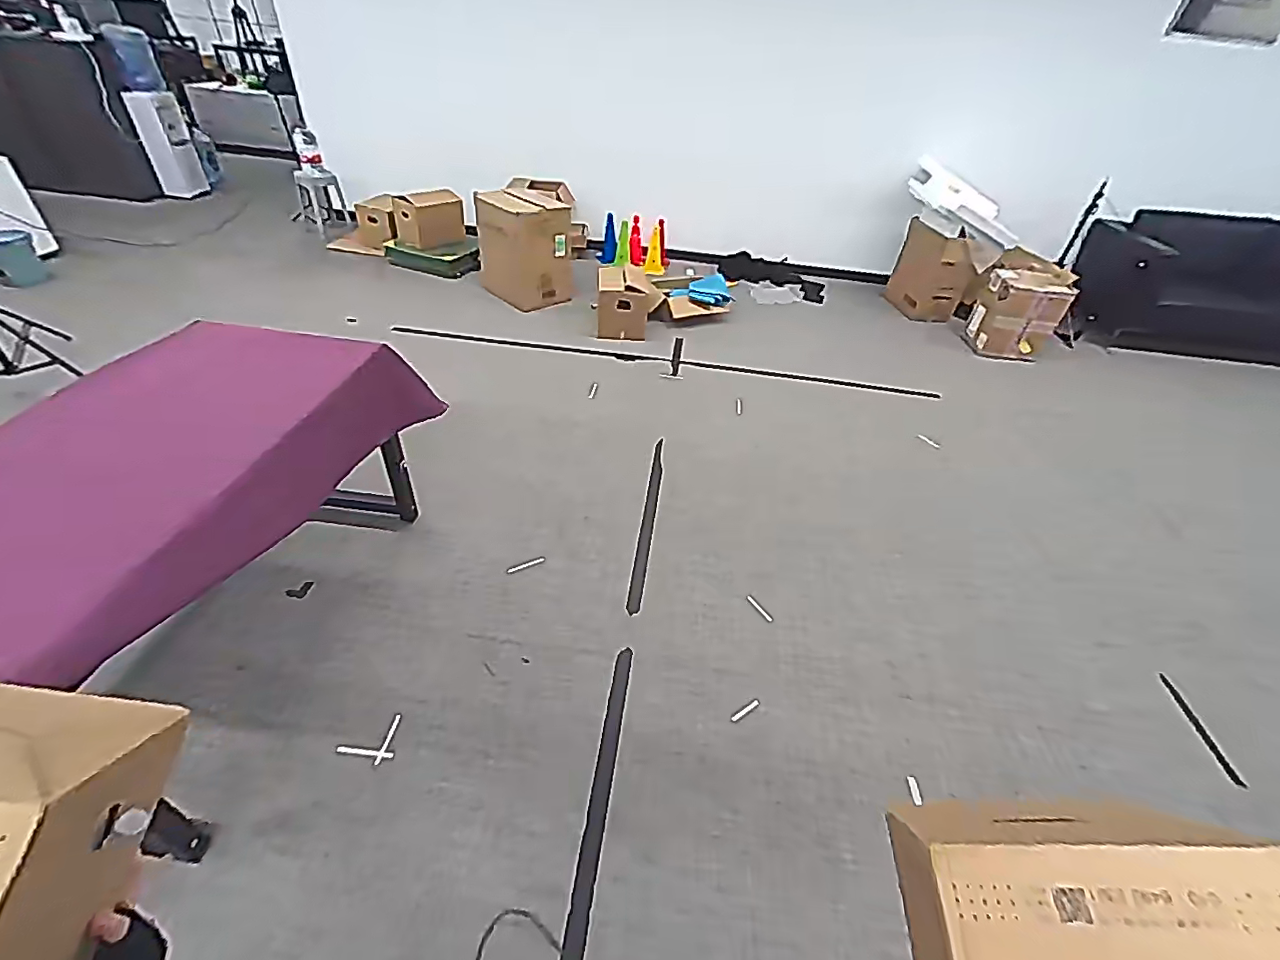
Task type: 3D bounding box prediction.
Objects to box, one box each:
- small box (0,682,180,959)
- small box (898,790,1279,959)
[{"bbox_3d":[-0.361,0.190,0.242,0.168,0.179,0.176,18,72,-20],"label":"small box"},{"bbox_3d":[0.261,0.284,0.309,0.168,0.179,0.176,-8,64,14],"label":"small box"}]
